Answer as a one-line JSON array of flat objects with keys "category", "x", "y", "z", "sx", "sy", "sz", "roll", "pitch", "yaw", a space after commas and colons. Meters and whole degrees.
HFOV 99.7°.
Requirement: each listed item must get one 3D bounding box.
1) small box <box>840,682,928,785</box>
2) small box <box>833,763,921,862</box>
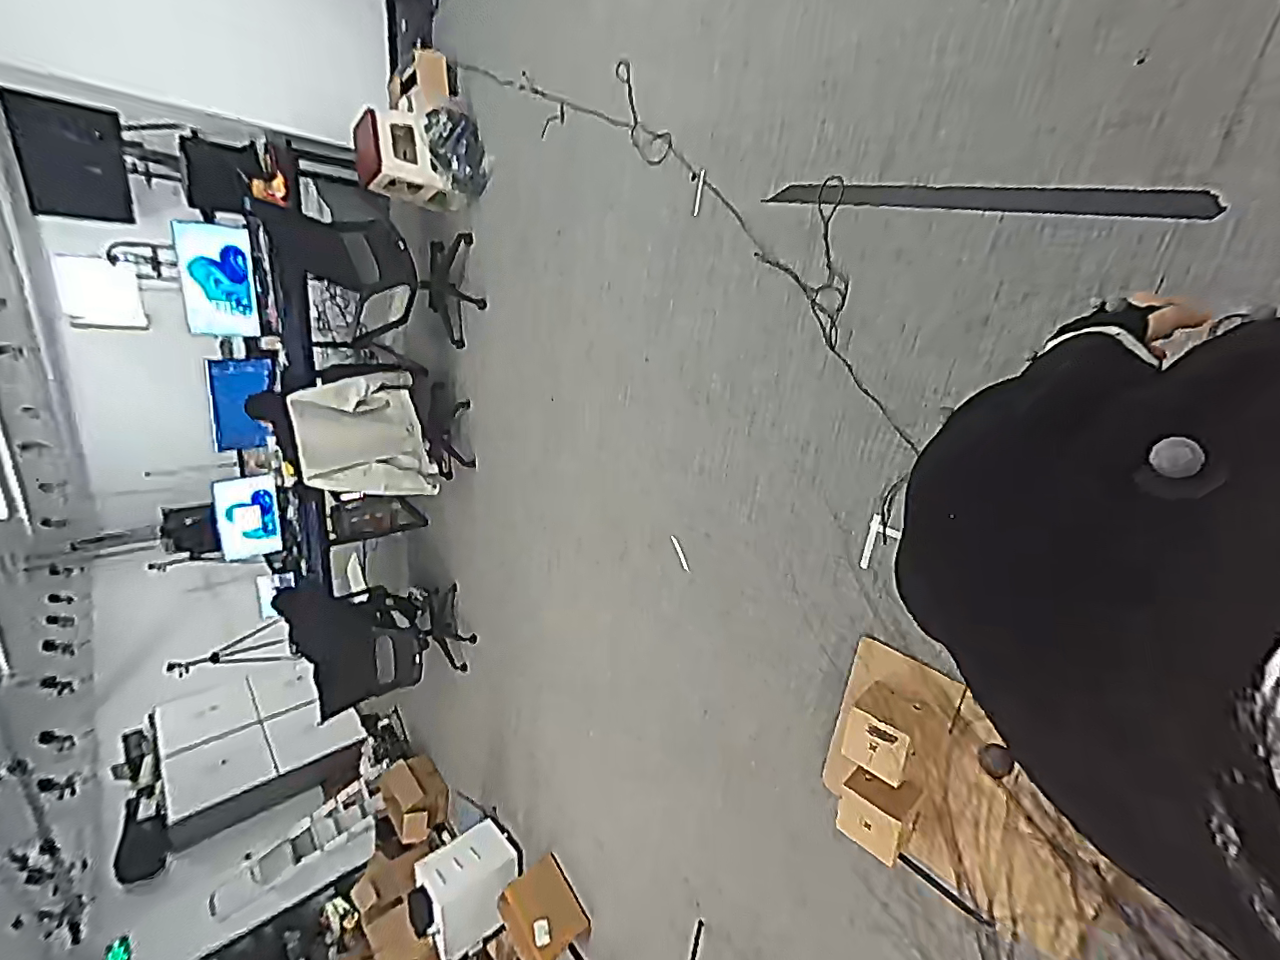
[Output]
[{"category": "small box", "x": 0.700, "y": 0.714, "z": 1.547, "sx": 0.168, "sy": 0.176, "sz": 0.179, "roll": 21, "pitch": 114, "yaw": 43}, {"category": "small box", "x": 0.704, "y": 0.967, "z": 1.607, "sx": 0.179, "sy": 0.176, "sz": 0.168, "roll": 19, "pitch": 114, "yaw": 43}]
